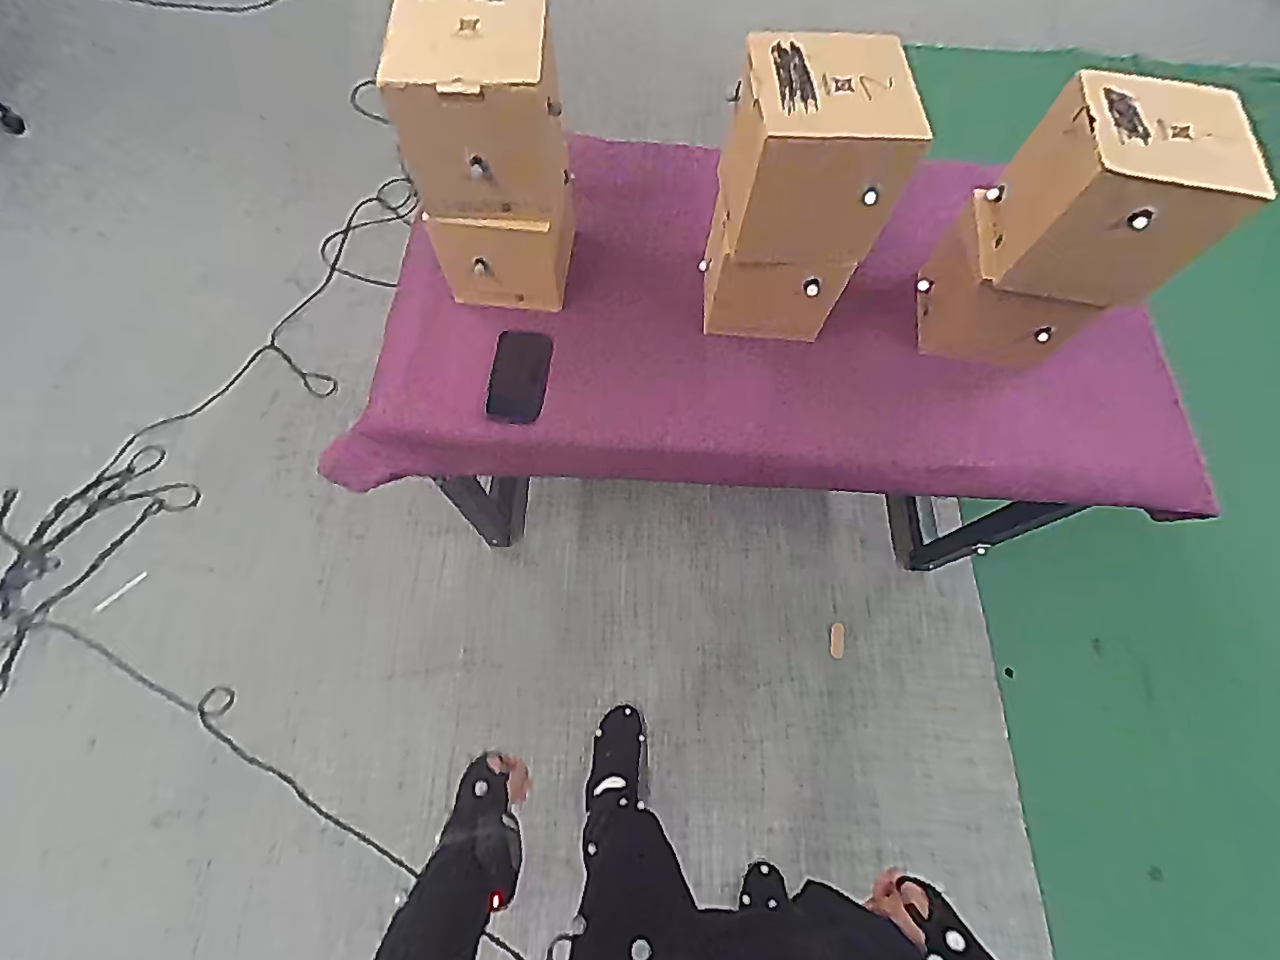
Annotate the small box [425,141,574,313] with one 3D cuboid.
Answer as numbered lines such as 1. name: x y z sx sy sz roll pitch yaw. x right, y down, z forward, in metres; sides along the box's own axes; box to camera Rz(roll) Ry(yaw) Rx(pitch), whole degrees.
1. small box: -0.193 -0.372 0.801 0.168 0.176 0.179 5 68 0

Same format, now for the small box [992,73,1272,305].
1. small box: 0.547 -0.331 0.637 0.179 0.176 0.168 10 68 1

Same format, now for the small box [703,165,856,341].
1. small box: 0.195 -0.324 0.796 0.179 0.176 0.168 4 68 0

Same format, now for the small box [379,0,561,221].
1. small box: -0.187 -0.440 0.652 0.168 0.176 0.179 0 69 -3

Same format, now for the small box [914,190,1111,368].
1. small box: 0.533 -0.285 0.795 0.179 0.176 0.168 10 68 2
